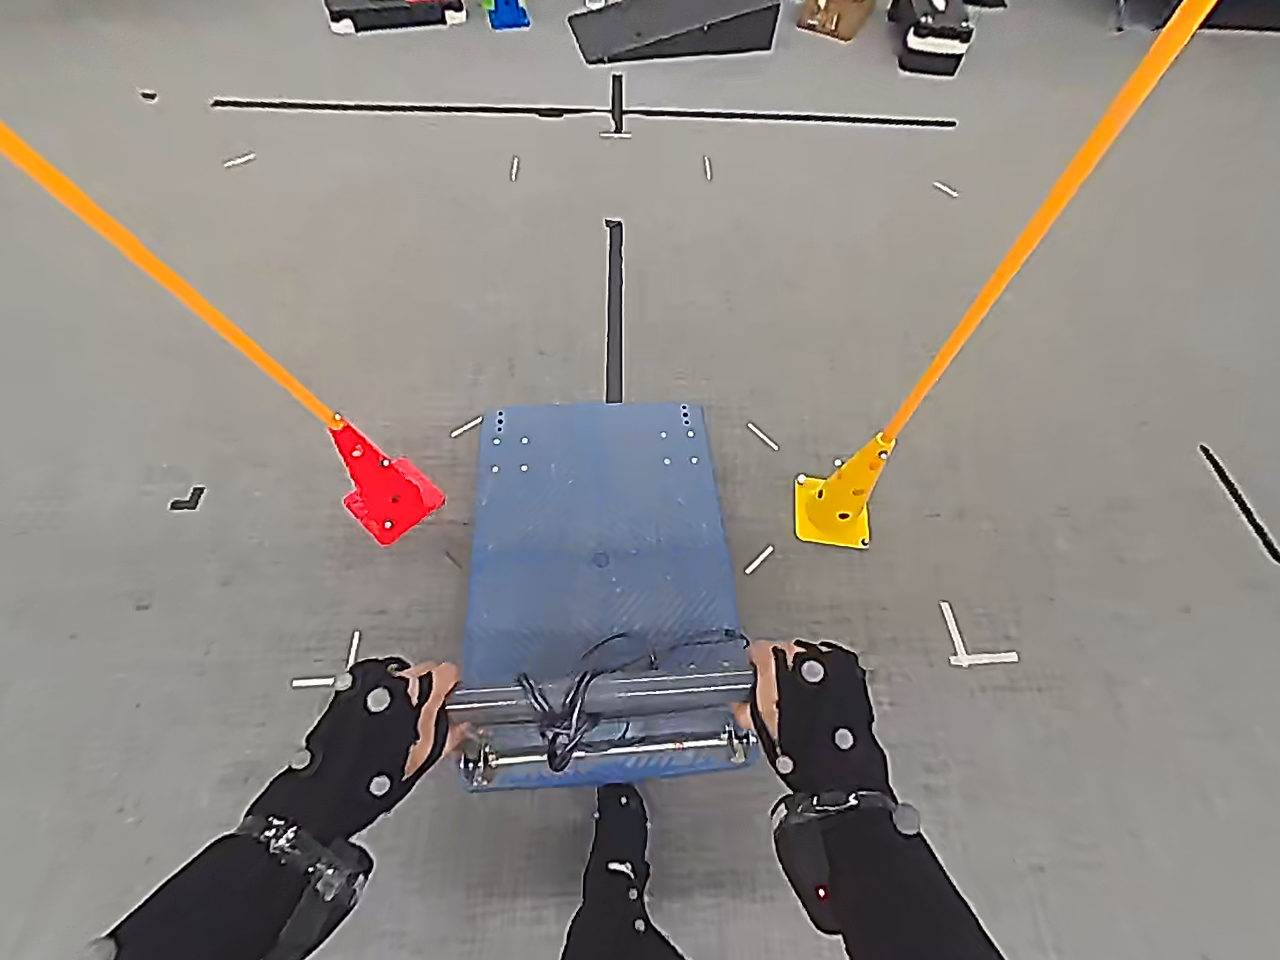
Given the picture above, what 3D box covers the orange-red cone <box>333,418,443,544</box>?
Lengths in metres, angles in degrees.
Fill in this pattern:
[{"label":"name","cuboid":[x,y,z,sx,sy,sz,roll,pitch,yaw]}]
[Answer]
[{"label":"orange-red cone","cuboid":[-0.643,-0.030,1.296,0.198,0.360,0.199,41,65,17]}]
